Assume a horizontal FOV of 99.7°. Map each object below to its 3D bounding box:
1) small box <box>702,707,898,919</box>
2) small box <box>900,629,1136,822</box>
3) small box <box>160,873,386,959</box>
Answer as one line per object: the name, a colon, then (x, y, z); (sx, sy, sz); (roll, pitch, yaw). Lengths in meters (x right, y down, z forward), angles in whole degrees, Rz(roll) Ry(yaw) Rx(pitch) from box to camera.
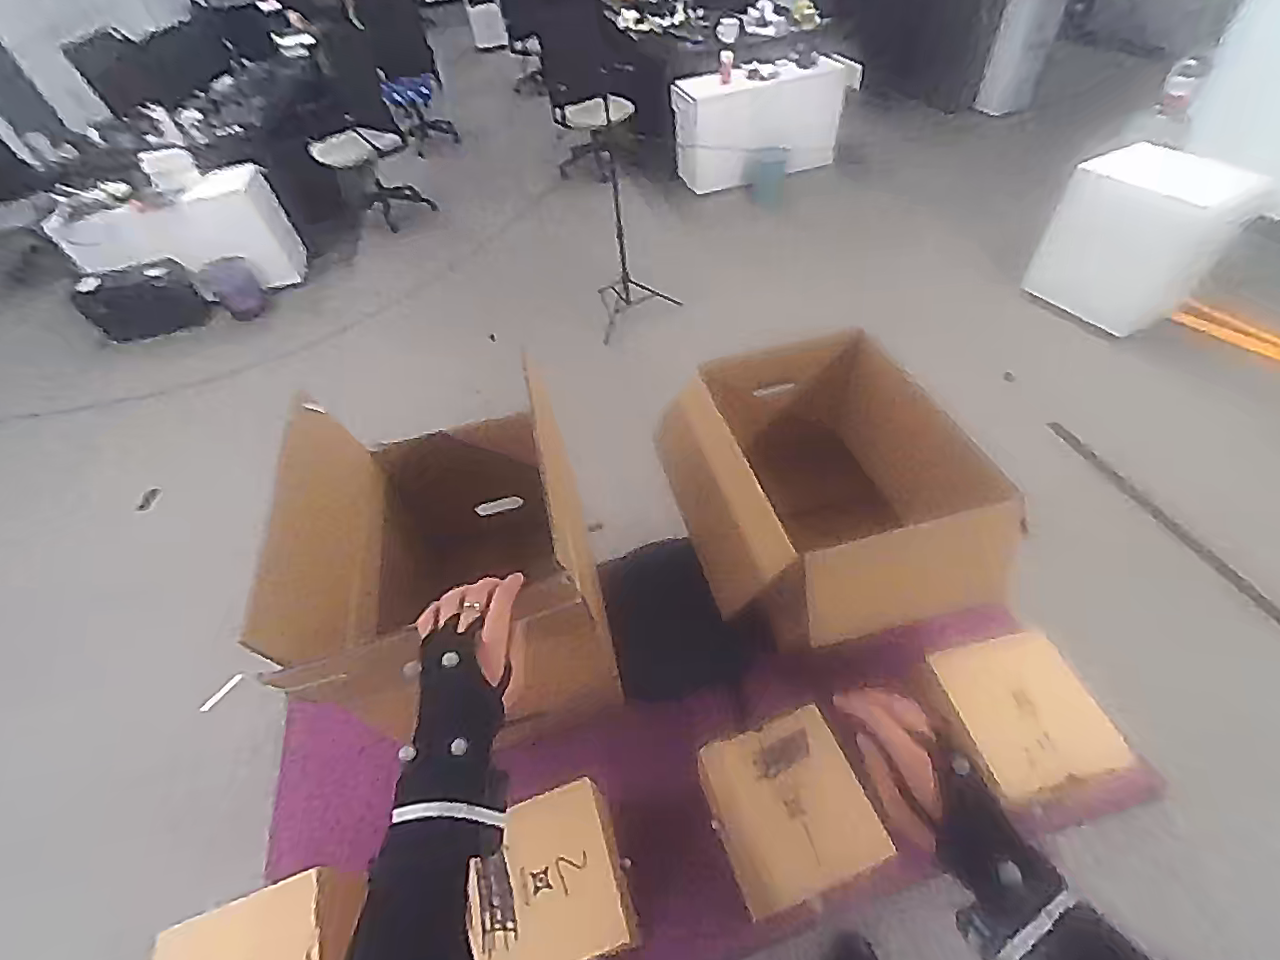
small box: (0.185, 0.425, 0.689); (0.168, 0.176, 0.179); (-18, 51, -7)
small box: (0.482, 0.331, 0.729); (0.168, 0.176, 0.179); (-13, 49, -2)
small box: (-0.418, 0.593, 0.625); (0.179, 0.176, 0.168); (-18, 50, -10)
